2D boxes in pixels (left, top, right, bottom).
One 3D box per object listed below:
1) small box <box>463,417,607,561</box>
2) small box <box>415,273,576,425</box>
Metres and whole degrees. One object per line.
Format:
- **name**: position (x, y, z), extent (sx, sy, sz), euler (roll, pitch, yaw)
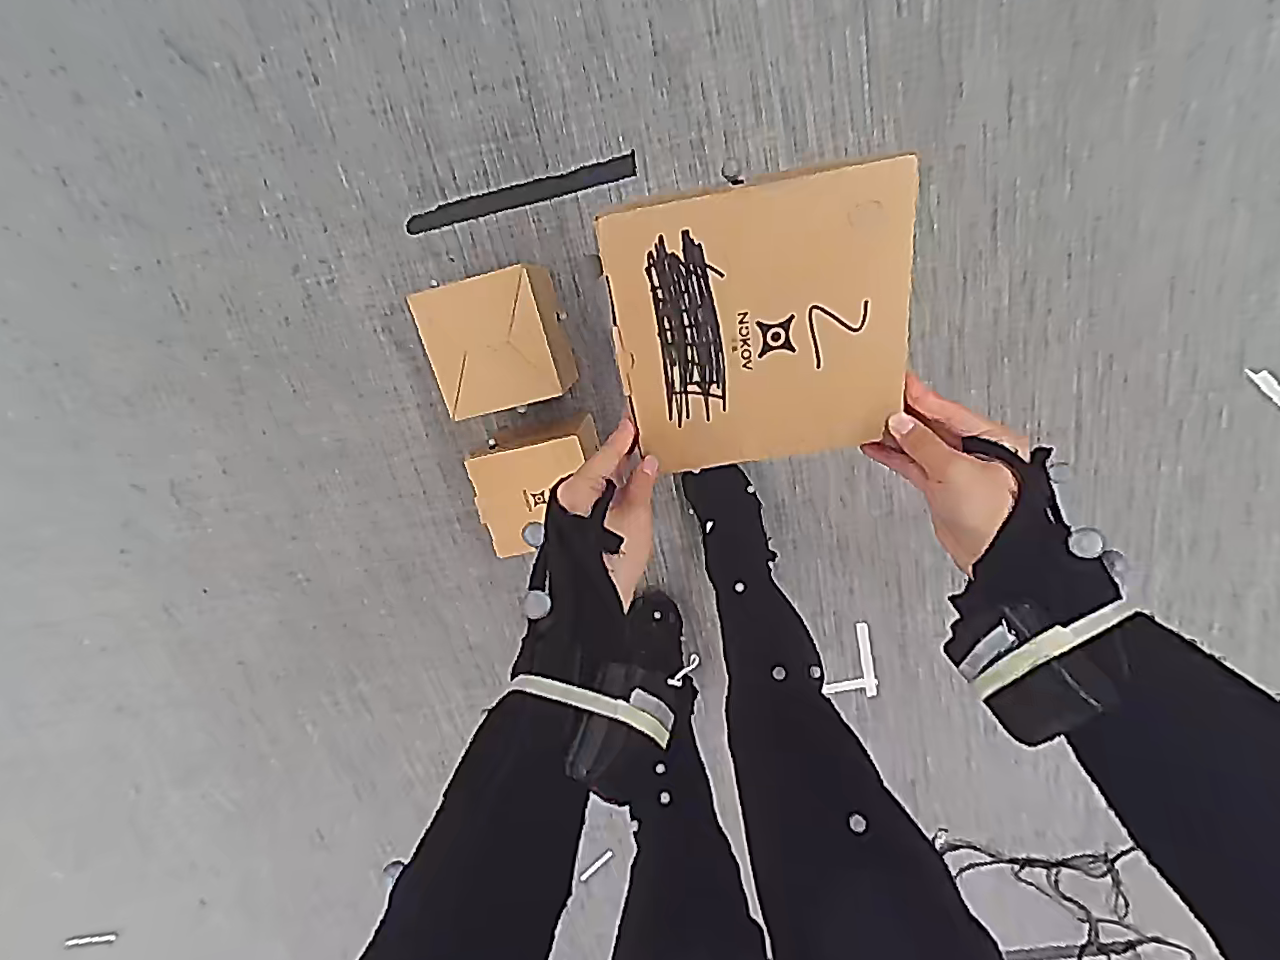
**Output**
- **small box**: position (-0.154, 0.007, 0.874), extent (0.179, 0.176, 0.168), euler (-12, 109, 6)
- **small box**: position (-0.205, -0.198, 0.800), extent (0.168, 0.176, 0.179), euler (-13, 108, 6)
